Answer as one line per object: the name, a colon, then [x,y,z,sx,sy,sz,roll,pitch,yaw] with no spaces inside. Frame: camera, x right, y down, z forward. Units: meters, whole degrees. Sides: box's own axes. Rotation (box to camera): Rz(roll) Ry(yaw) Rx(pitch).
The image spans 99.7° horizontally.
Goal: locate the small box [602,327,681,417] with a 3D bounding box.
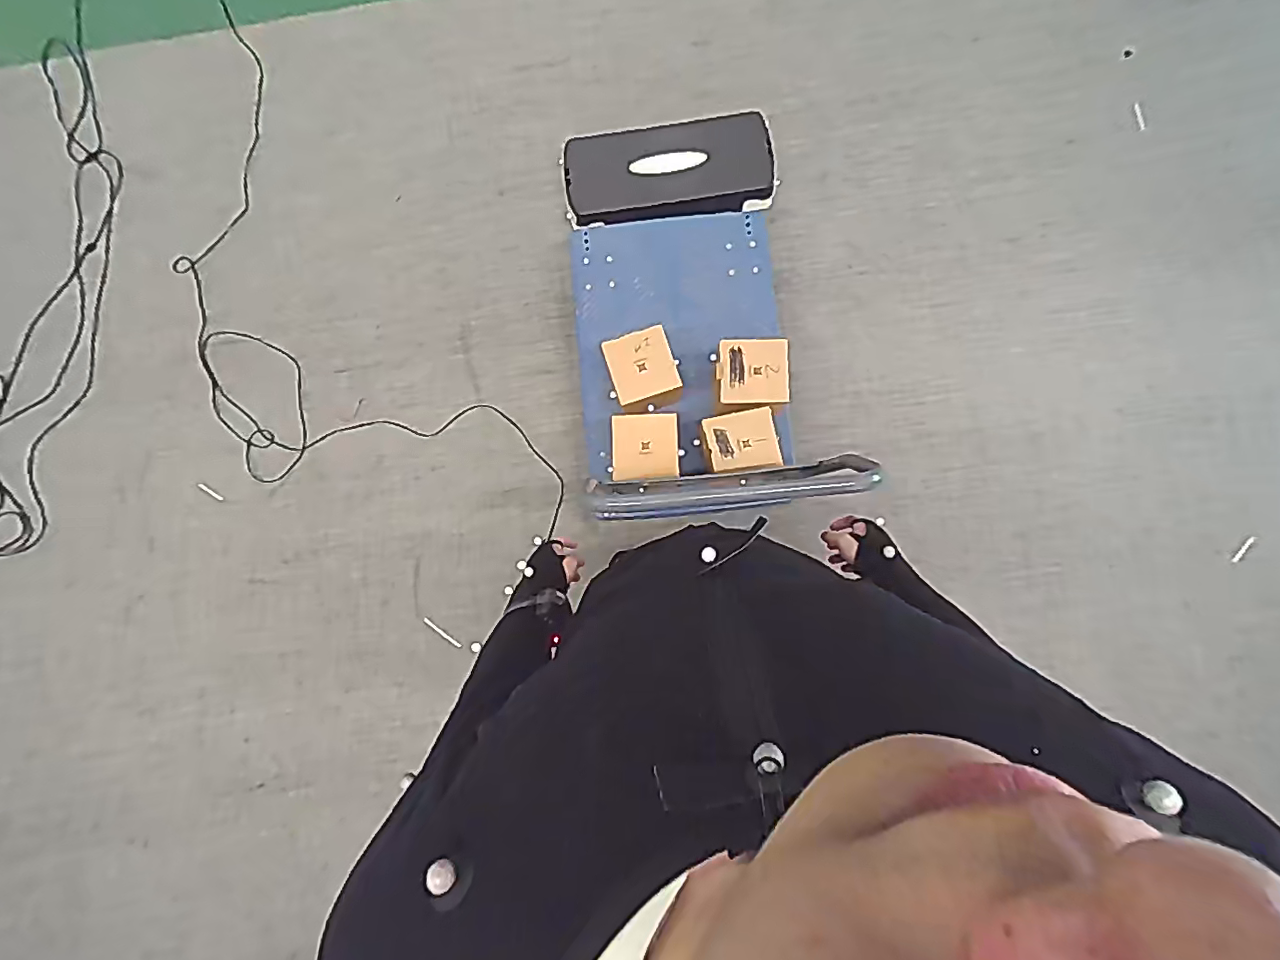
small box: [0.005,-0.277,1.446,0.168,0.176,0.179,-18,83,-2]
